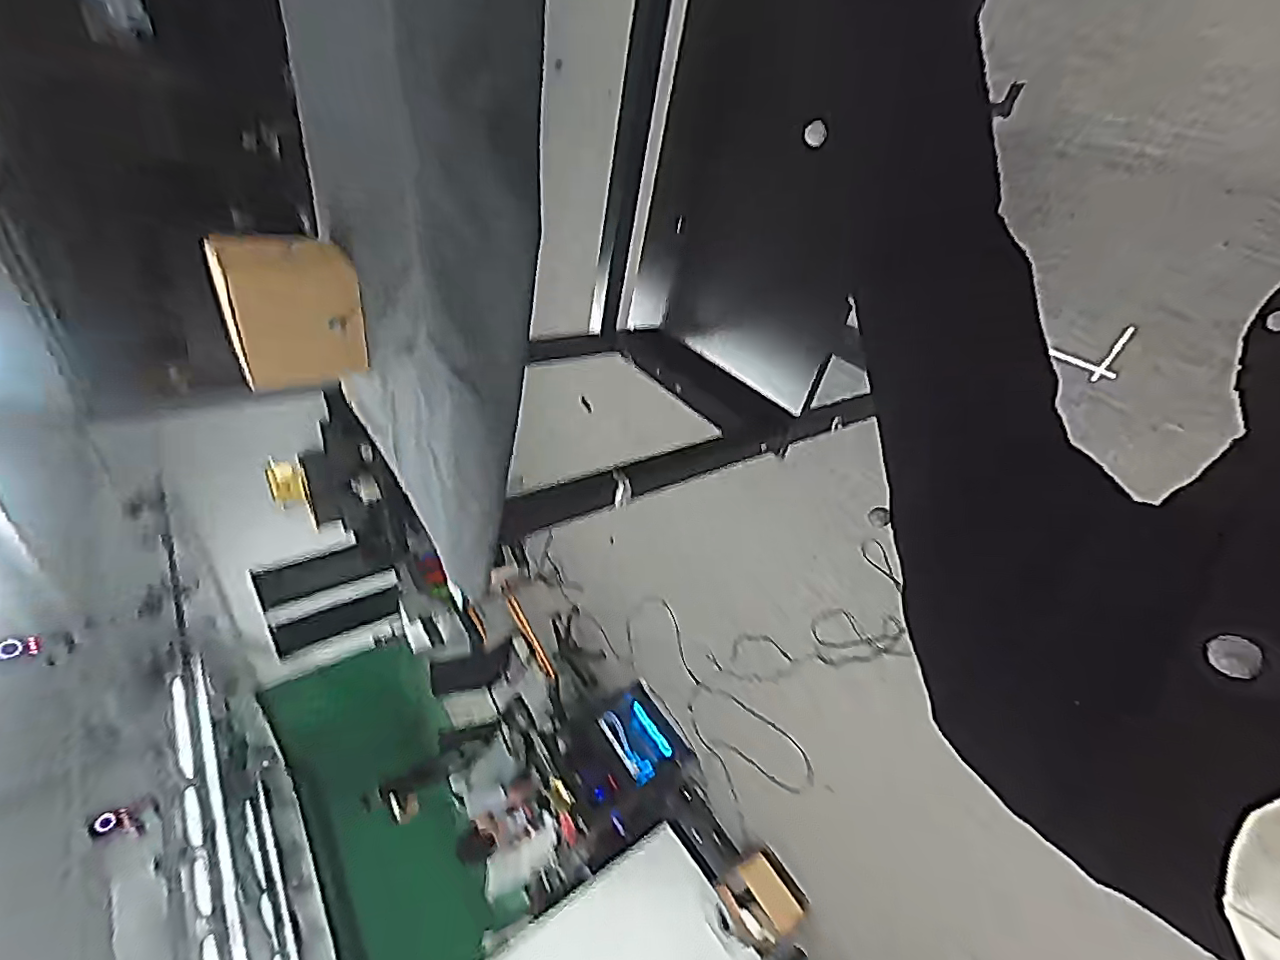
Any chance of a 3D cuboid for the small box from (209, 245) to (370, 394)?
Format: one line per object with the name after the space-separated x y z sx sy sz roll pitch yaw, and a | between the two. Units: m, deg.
-0.548 -0.259 0.857 0.168 0.176 0.179 41 134 37 | small box
